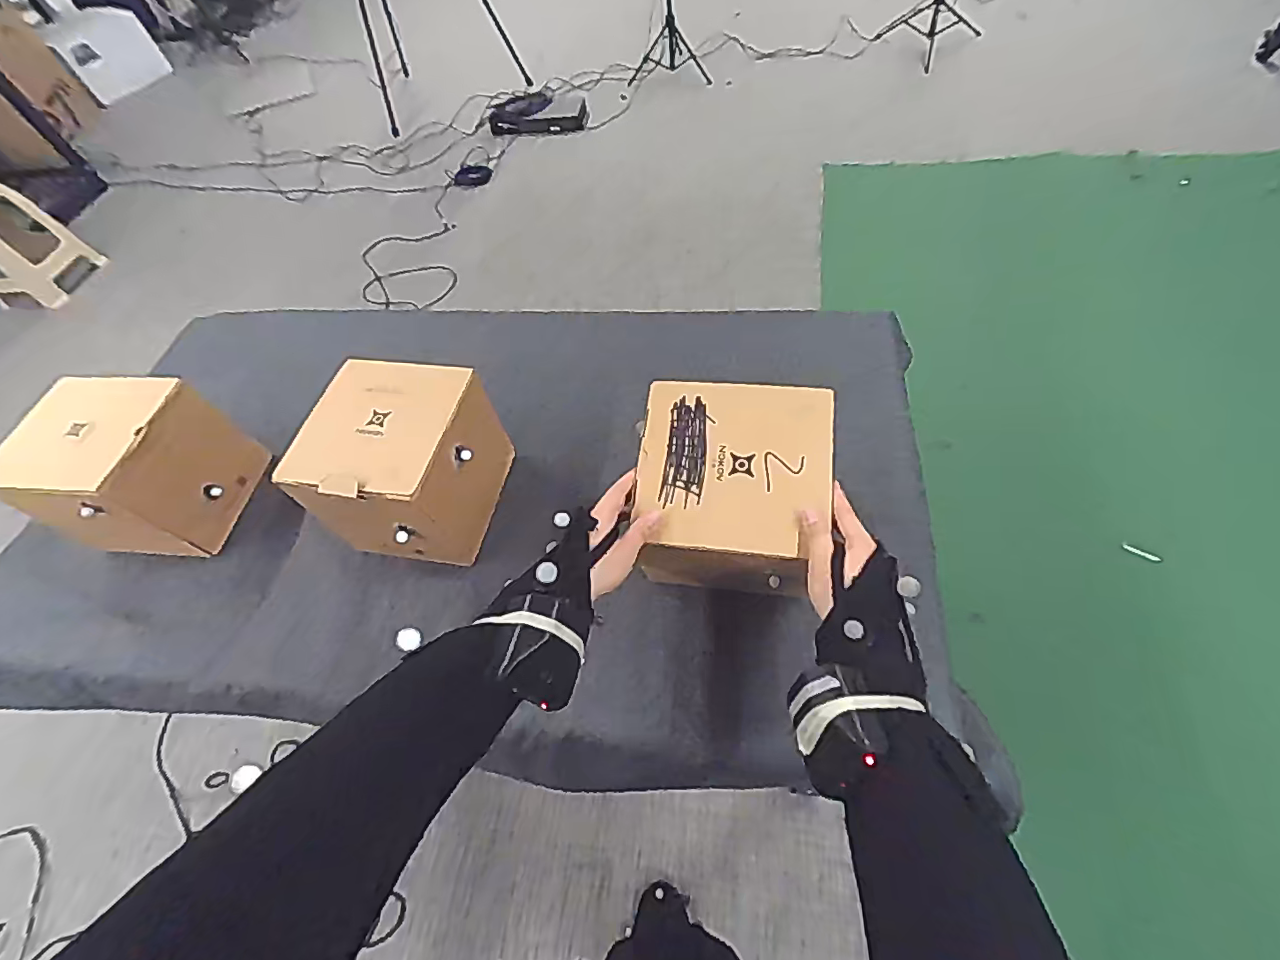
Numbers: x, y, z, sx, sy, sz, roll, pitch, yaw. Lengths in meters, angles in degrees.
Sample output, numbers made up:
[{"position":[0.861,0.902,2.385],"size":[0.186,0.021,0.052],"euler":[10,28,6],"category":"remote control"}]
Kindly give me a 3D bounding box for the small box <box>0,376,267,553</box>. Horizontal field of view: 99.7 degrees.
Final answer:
[{"position":[-0.641,-0.015,0.693],"size":[0.179,0.176,0.168],"euler":[2,58,8],"category":"small box"}]

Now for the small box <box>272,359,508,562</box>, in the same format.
[{"position":[-0.276,-0.019,0.649],"size":[0.168,0.176,0.179],"euler":[7,58,10],"category":"small box"}]
